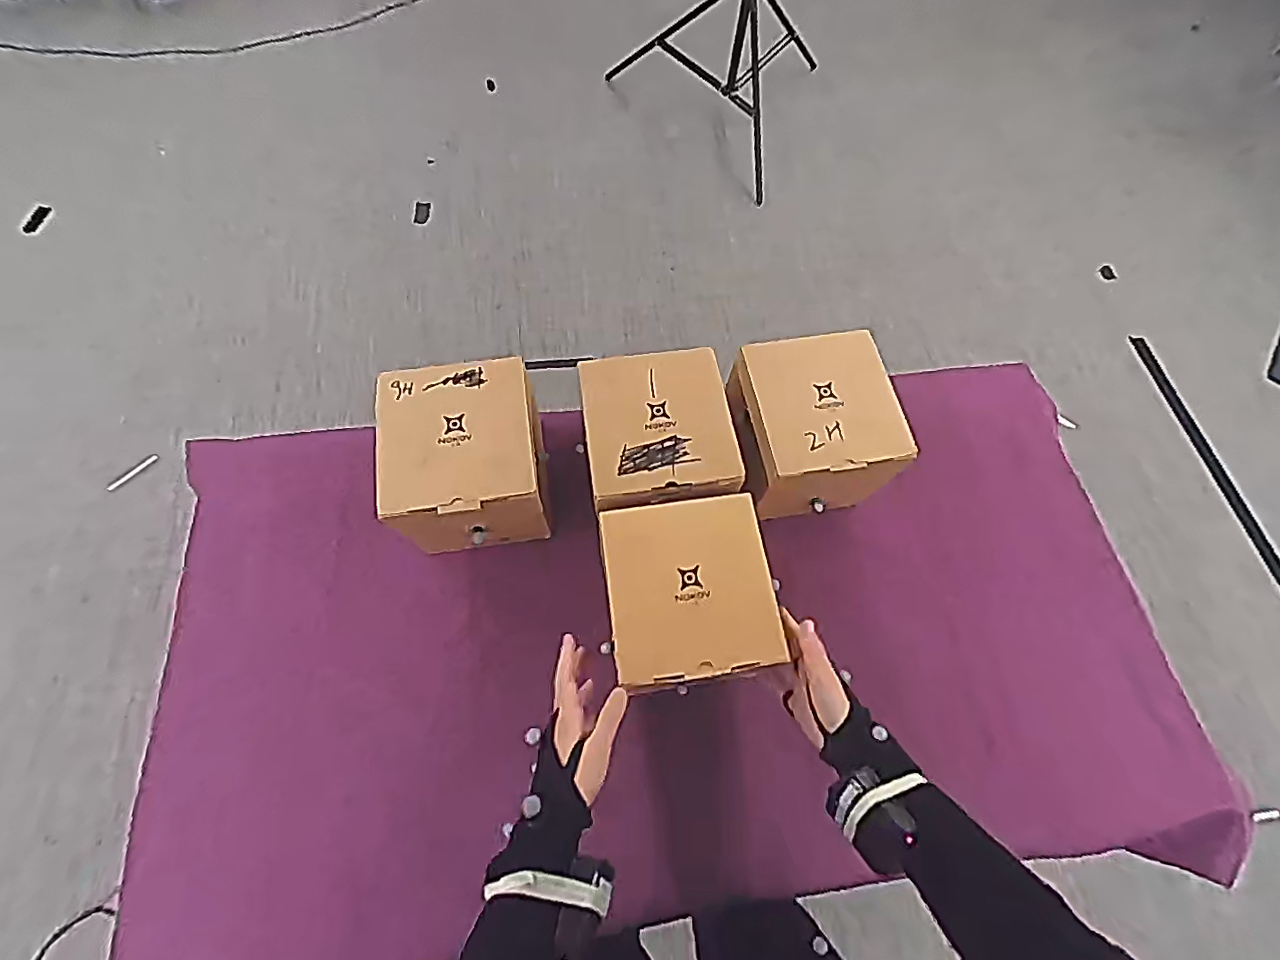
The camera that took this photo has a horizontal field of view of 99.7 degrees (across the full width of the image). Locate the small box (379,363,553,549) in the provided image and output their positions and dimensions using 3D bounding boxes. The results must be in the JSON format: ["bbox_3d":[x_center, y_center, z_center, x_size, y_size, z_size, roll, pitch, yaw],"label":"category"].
[{"bbox_3d":[-0.205,-0.018,0.667,0.168,0.176,0.179,-8,70,-6],"label":"small box"}]
